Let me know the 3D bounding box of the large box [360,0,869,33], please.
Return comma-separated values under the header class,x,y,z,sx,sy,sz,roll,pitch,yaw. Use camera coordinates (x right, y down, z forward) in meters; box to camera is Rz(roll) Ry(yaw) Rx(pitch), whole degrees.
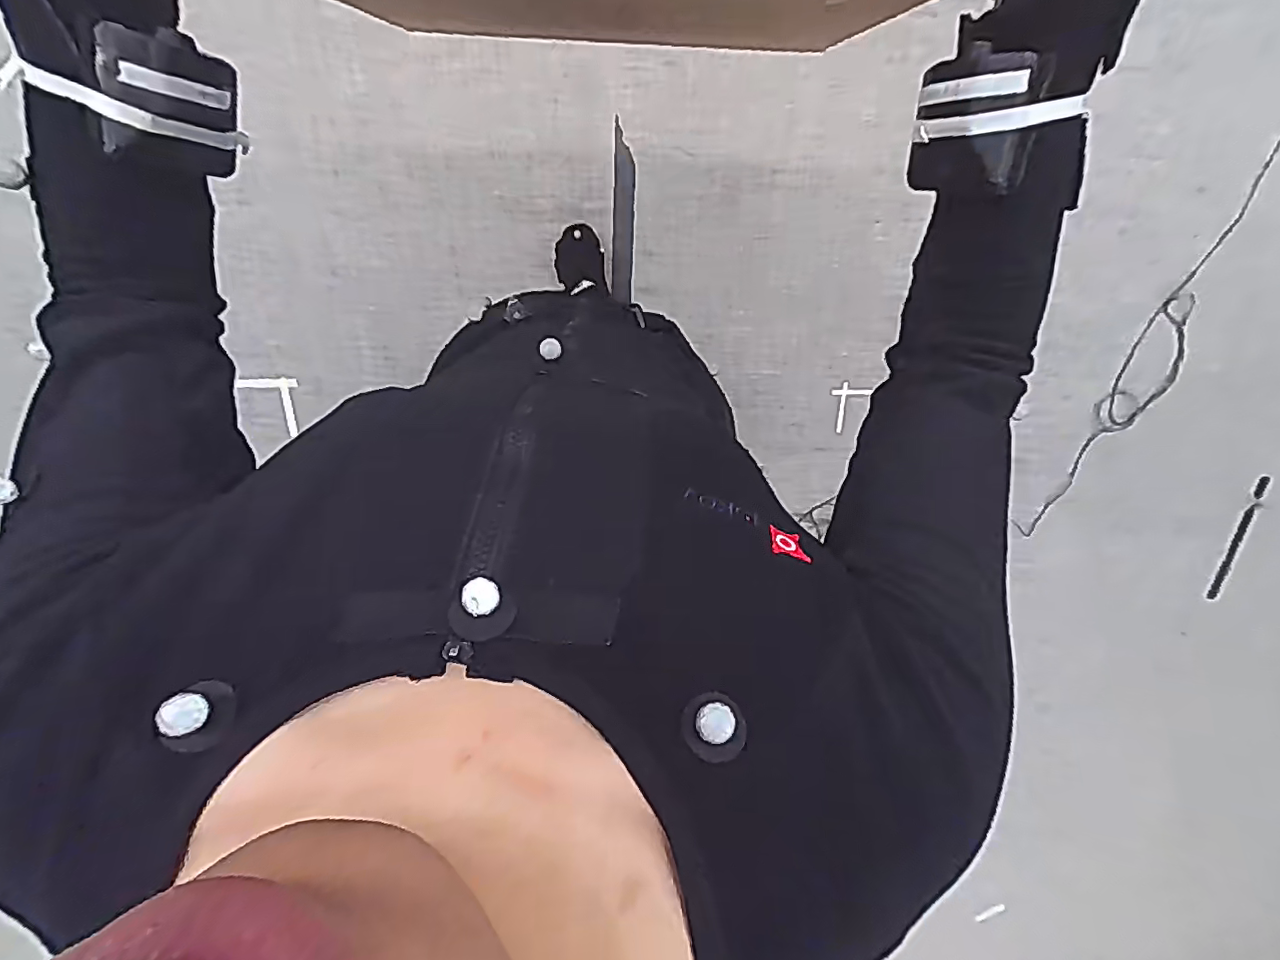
class,x,y,z,sx,sy,sz,roll,pitch,yaw
large box,-0.022,-0.478,0.310,0.408,0.320,0.320,1,123,-1
